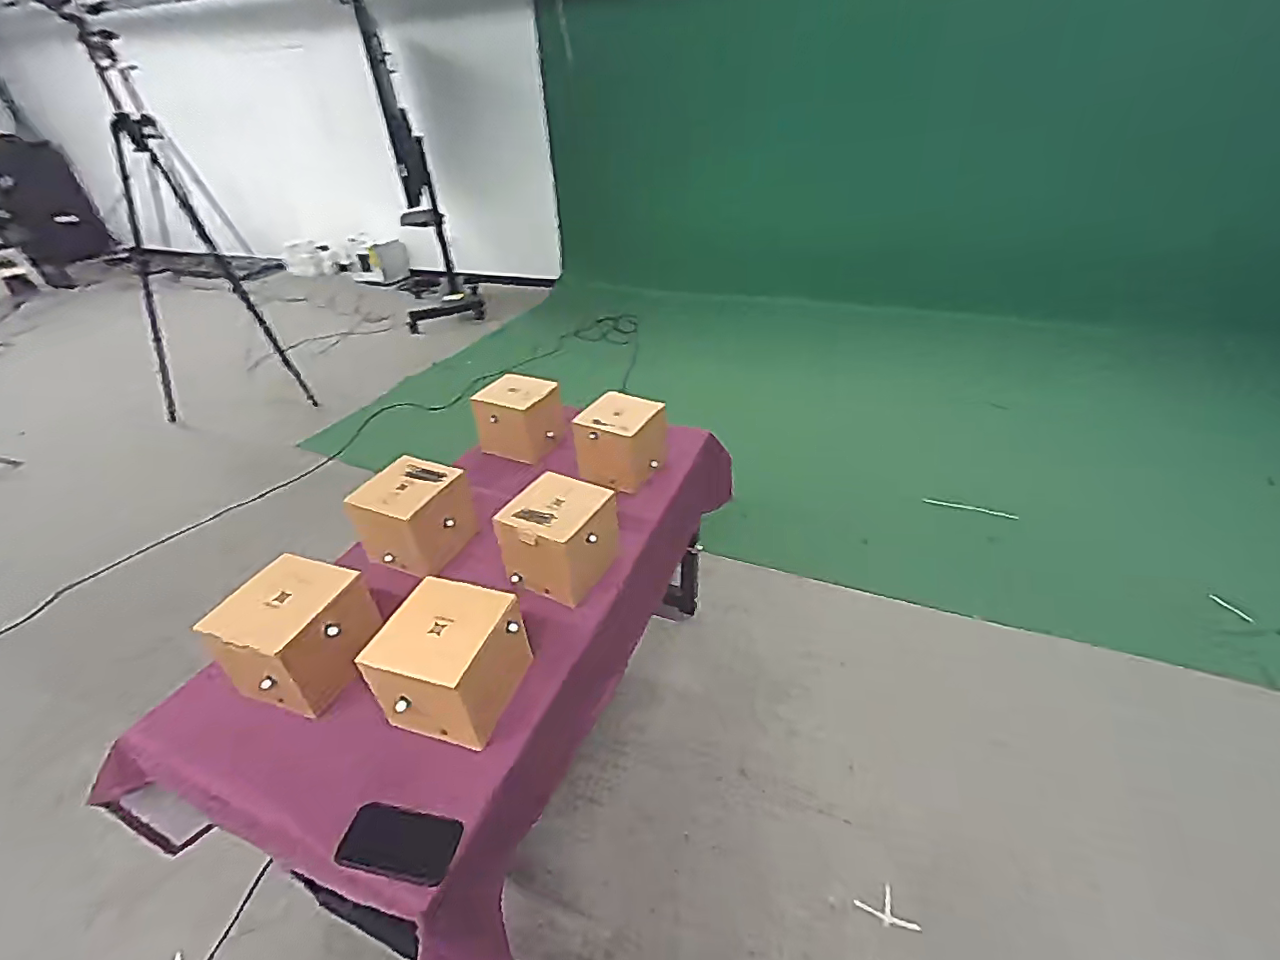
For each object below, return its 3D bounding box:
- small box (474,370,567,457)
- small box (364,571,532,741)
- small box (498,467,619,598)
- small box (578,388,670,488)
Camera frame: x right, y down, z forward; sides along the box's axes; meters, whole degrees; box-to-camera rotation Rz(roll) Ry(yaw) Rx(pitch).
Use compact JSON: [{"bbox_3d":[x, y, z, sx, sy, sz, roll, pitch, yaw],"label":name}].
[{"bbox_3d":[-0.318,-0.182,1.477,0.179,0.176,0.168,16,40,22],"label":"small box"},{"bbox_3d":[-0.286,0.276,0.854,0.168,0.176,0.179,8,36,15],"label":"small box"},{"bbox_3d":[-0.150,0.104,1.078,0.168,0.176,0.179,17,39,24],"label":"small box"},{"bbox_3d":[-0.037,-0.108,1.361,0.168,0.176,0.179,17,40,25],"label":"small box"}]
